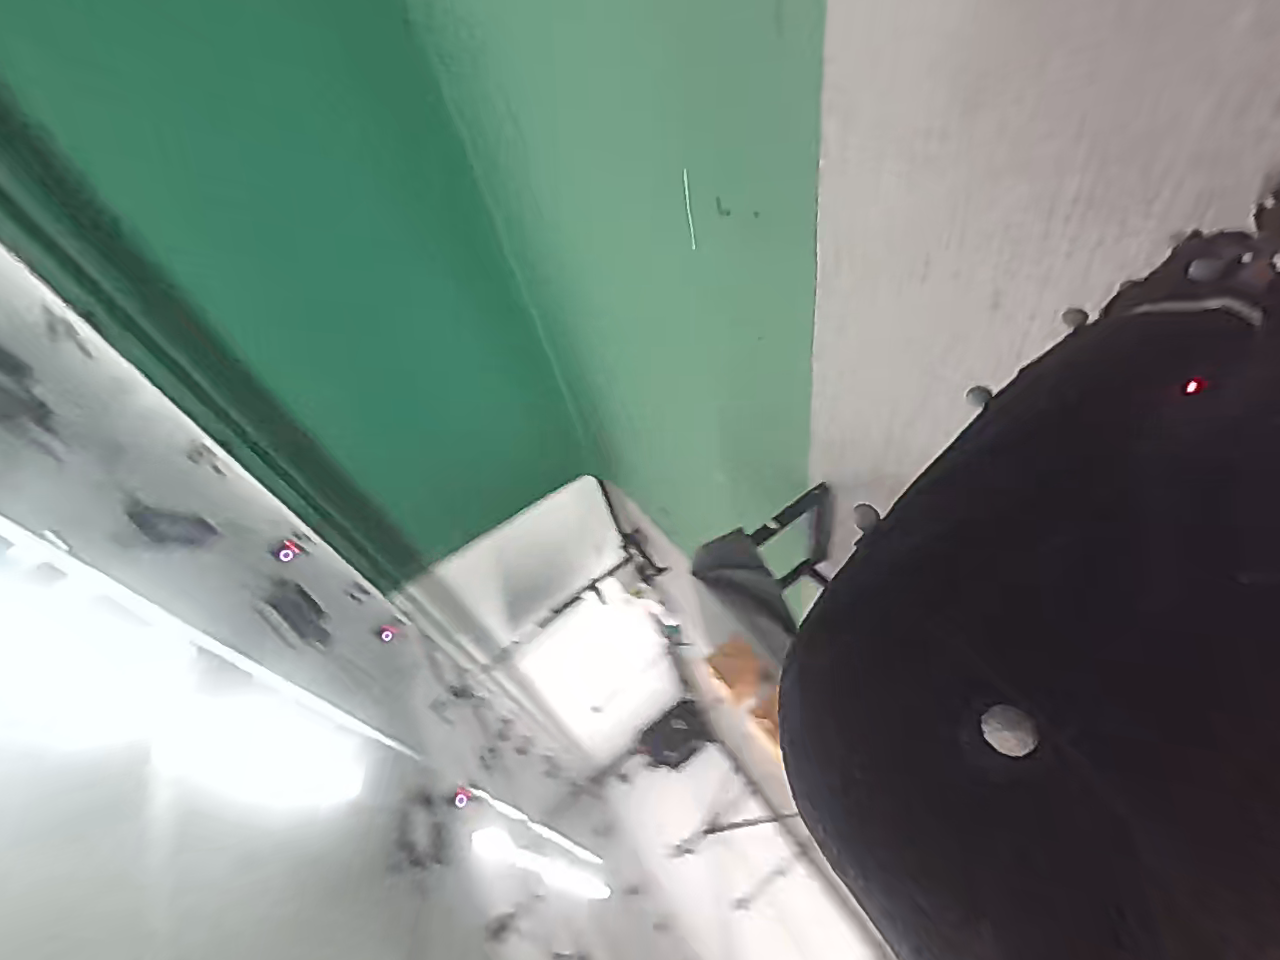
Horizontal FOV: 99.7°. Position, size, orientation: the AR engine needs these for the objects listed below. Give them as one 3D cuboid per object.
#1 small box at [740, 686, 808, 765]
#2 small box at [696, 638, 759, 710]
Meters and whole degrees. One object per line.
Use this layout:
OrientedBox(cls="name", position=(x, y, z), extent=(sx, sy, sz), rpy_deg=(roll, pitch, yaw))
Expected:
OrientedBox(cls="small box", position=(0.482, 0.878, 1.935), extent=(0.168, 0.176, 0.179), rpy_deg=(44, 160, 40))
OrientedBox(cls="small box", position=(0.345, 0.750, 2.104), extent=(0.168, 0.176, 0.179), rpy_deg=(44, 161, 43))
